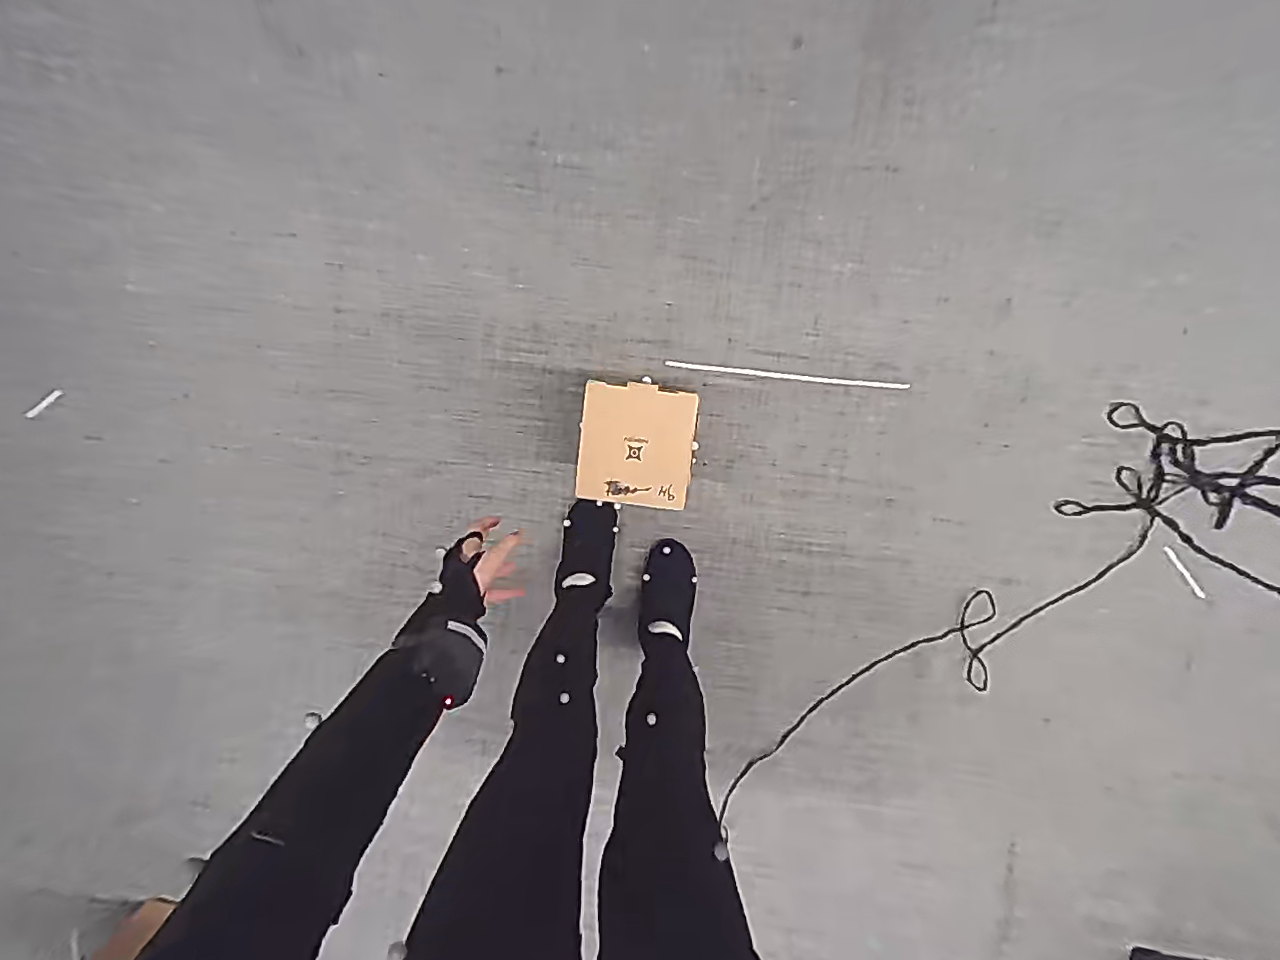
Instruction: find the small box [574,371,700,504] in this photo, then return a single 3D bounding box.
[{"bbox_3d":[-0.003,-0.072,0.859,0.168,0.176,0.179,8,99,2],"label":"small box"}]
